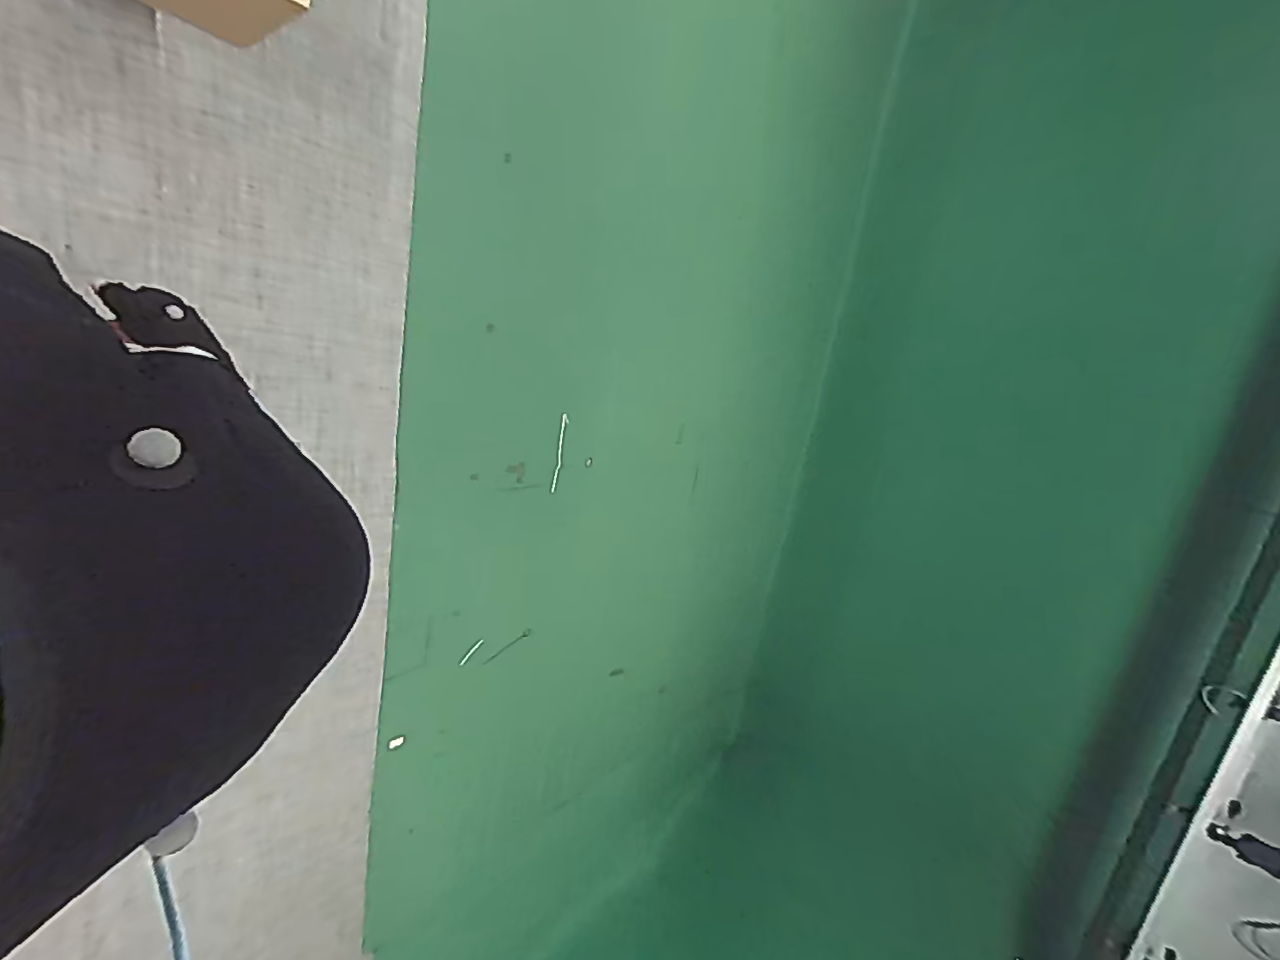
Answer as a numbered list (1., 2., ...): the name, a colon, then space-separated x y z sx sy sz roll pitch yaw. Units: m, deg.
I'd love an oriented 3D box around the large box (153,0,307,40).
1. large box: -0.716 -0.893 0.725 0.408 0.320 0.320 -4 109 -51
